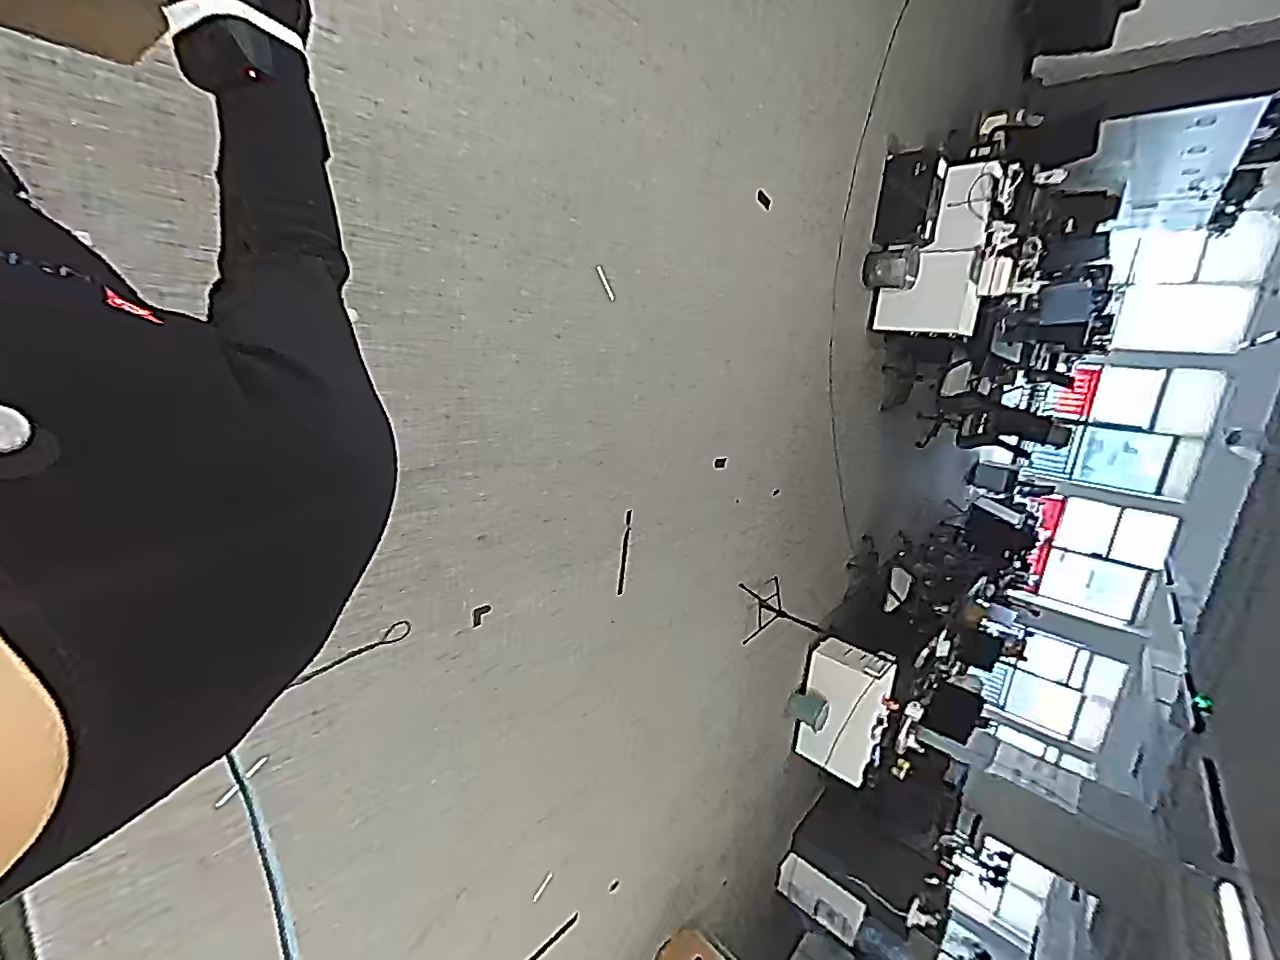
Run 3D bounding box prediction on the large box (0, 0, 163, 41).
[{"bbox_3d":[-0.532,-0.509,0.274,0.408,0.320,0.320,-15,120,-48],"label":"large box"}]
